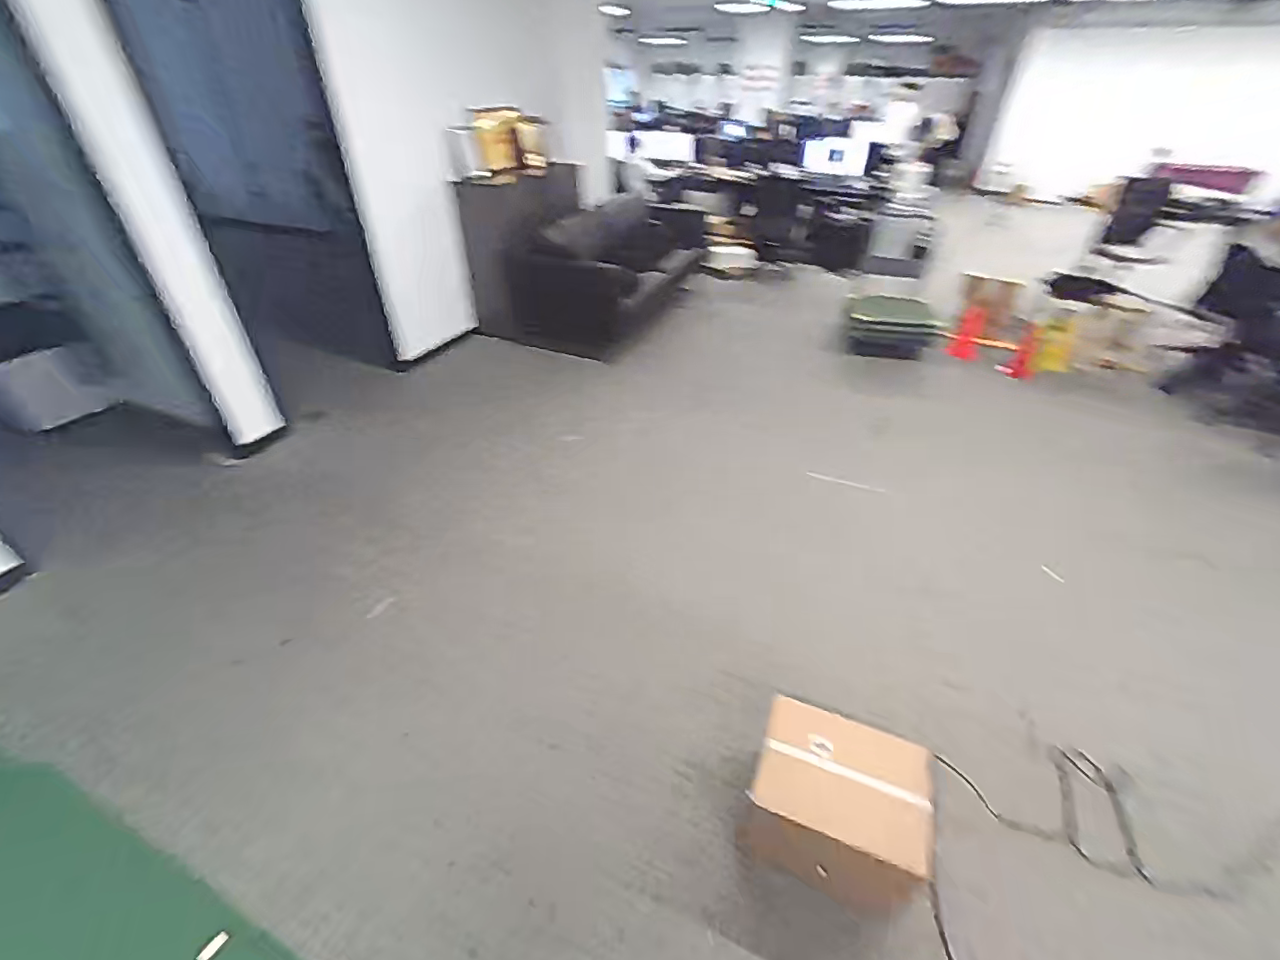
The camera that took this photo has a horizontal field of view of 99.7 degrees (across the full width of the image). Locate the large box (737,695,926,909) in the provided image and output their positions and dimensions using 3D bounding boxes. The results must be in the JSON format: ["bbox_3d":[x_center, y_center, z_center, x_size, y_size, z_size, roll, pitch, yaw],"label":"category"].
[{"bbox_3d":[0.502,0.851,1.448,0.408,0.320,0.320,12,37,18],"label":"large box"}]
